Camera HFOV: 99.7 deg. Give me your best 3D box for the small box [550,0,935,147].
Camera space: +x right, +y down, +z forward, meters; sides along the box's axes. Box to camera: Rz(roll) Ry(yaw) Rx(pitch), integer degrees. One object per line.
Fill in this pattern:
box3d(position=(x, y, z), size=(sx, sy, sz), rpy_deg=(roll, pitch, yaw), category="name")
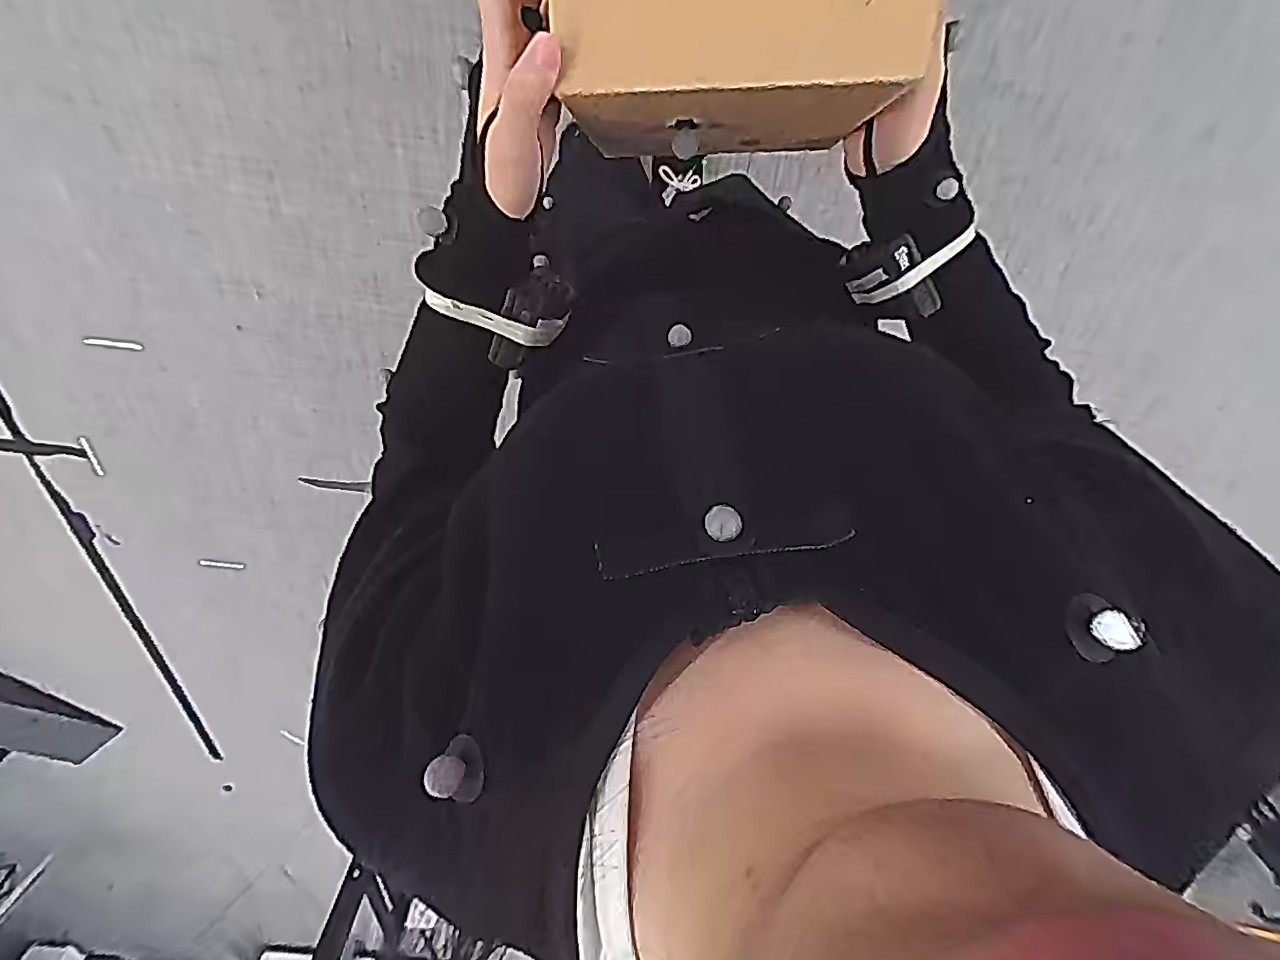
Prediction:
box3d(position=(0.048, -0.286, 0.282), size=(0.168, 0.176, 0.179), rpy_deg=(0, 112, 4), category="small box")
